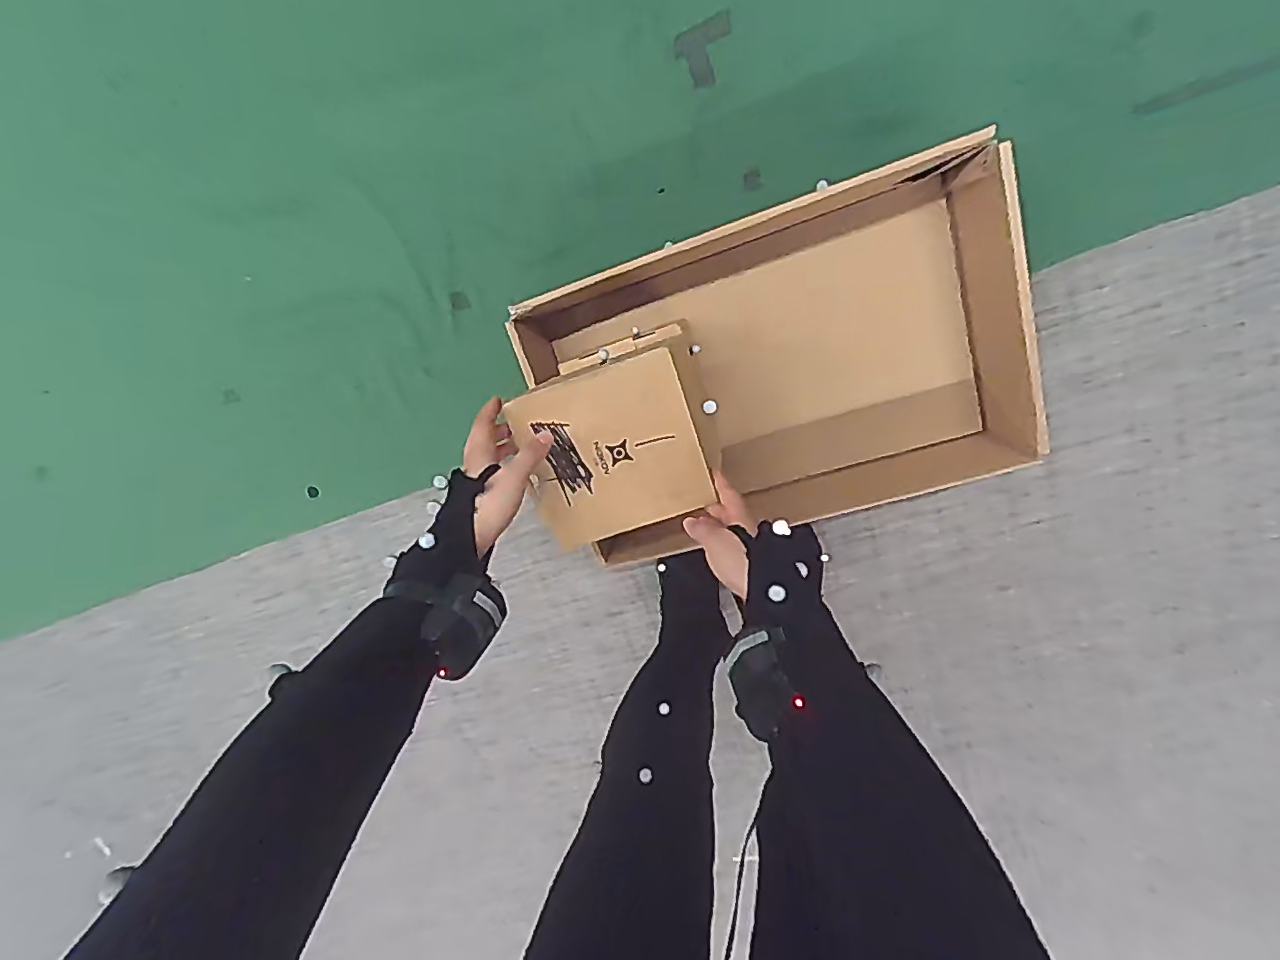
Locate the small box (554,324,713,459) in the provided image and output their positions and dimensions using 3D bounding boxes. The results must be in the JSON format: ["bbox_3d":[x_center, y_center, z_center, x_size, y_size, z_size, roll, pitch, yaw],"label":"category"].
[{"bbox_3d":[0.003,-0.111,0.771,0.168,0.176,0.179,-17,106,12],"label":"small box"}]

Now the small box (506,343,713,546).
[{"bbox_3d":[-0.020,-0.049,0.618,0.179,0.176,0.168,-16,106,12],"label":"small box"}]
